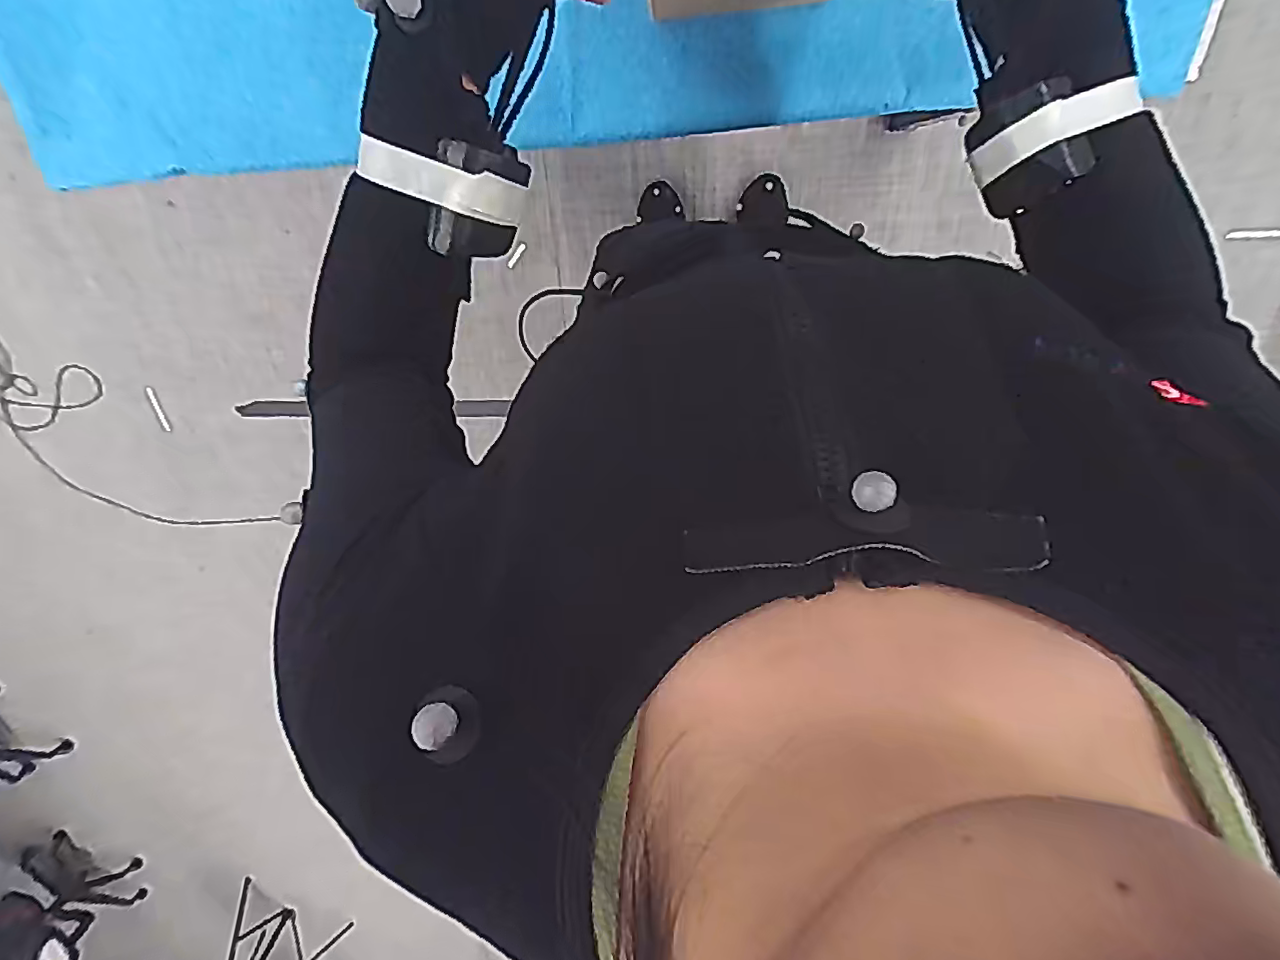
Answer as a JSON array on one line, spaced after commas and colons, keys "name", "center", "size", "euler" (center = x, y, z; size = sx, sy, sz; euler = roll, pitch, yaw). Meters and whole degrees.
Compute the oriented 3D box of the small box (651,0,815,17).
[{"name": "small box", "center": [0.085, -0.487, 0.417], "size": [0.179, 0.176, 0.168], "euler": [-1, 119, 6]}]
